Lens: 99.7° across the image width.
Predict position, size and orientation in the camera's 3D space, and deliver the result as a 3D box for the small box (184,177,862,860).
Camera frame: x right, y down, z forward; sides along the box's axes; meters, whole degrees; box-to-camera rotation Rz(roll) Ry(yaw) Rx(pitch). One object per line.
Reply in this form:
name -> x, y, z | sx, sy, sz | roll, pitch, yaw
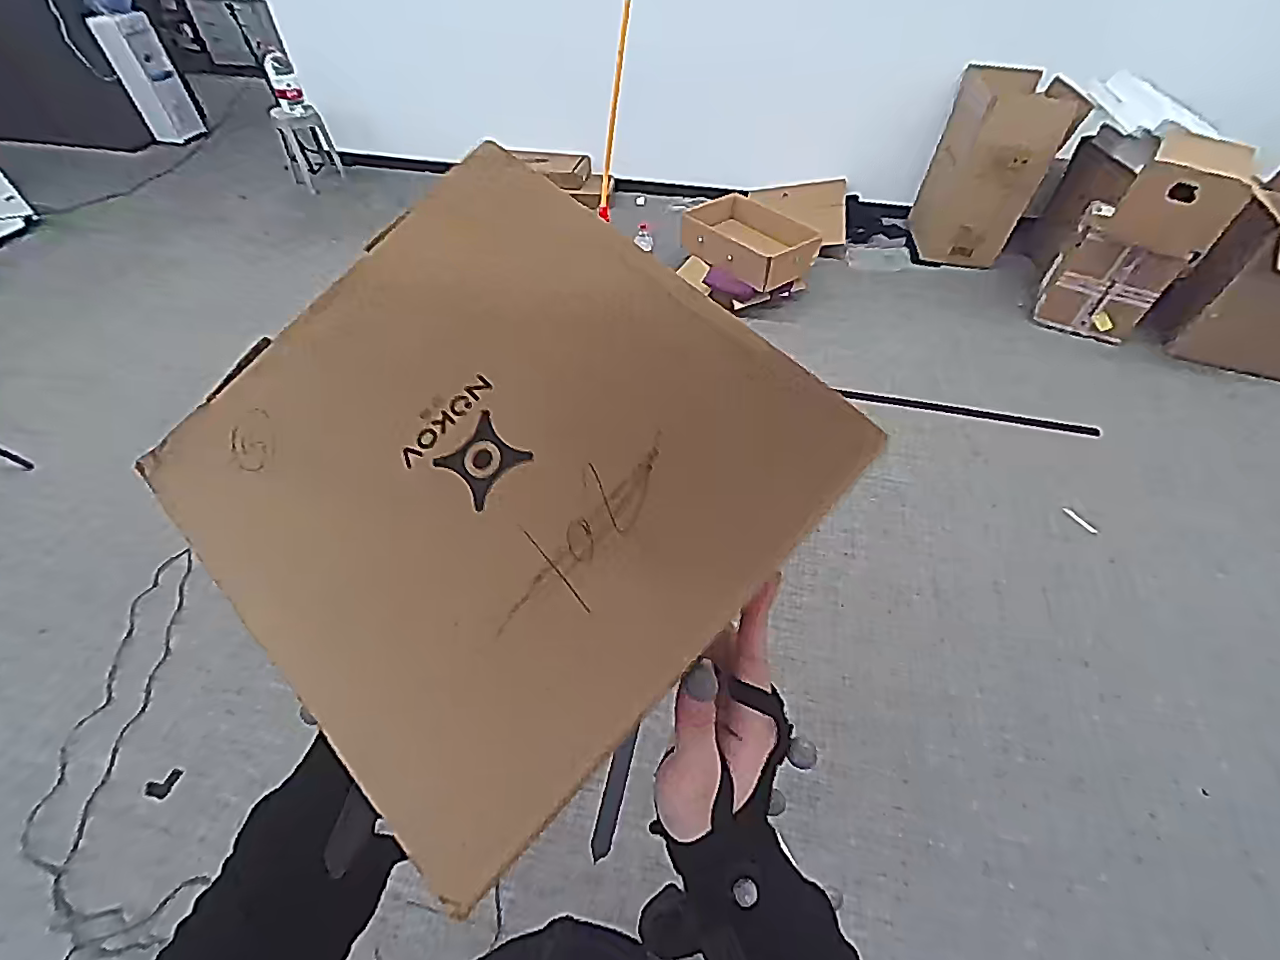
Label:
small box -> -0.037, 0.014, 0.254 | 0.179, 0.176, 0.168 | 41, 85, 16
